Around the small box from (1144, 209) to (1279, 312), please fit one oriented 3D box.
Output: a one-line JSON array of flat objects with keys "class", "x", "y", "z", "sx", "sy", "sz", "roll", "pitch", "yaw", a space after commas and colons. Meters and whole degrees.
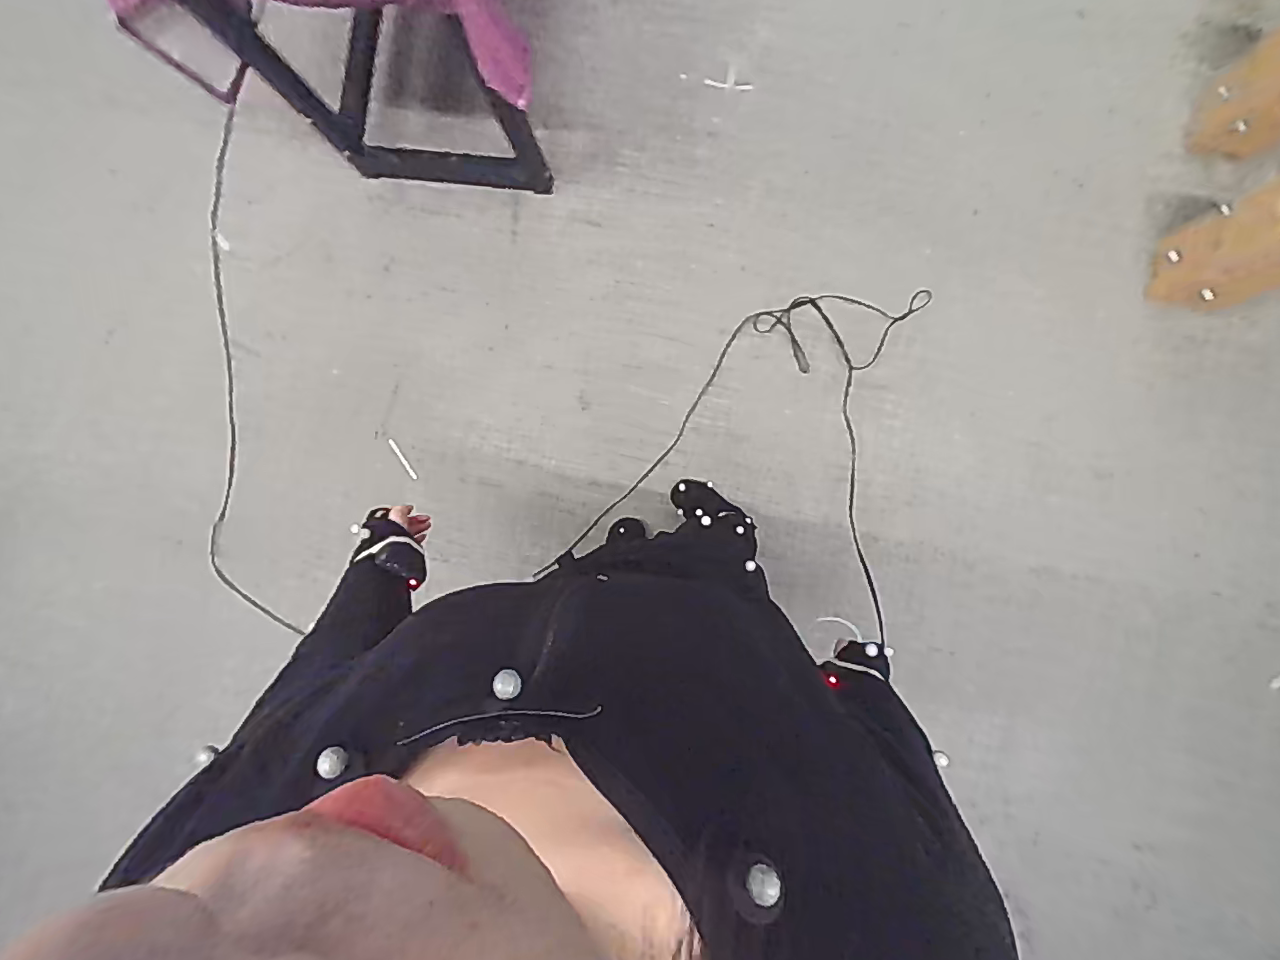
[{"class": "small box", "x": 1.407, "y": -0.531, "z": 1.329, "sx": 0.179, "sy": 0.176, "sz": 0.168, "roll": 14, "pitch": 91, "yaw": 5}]
